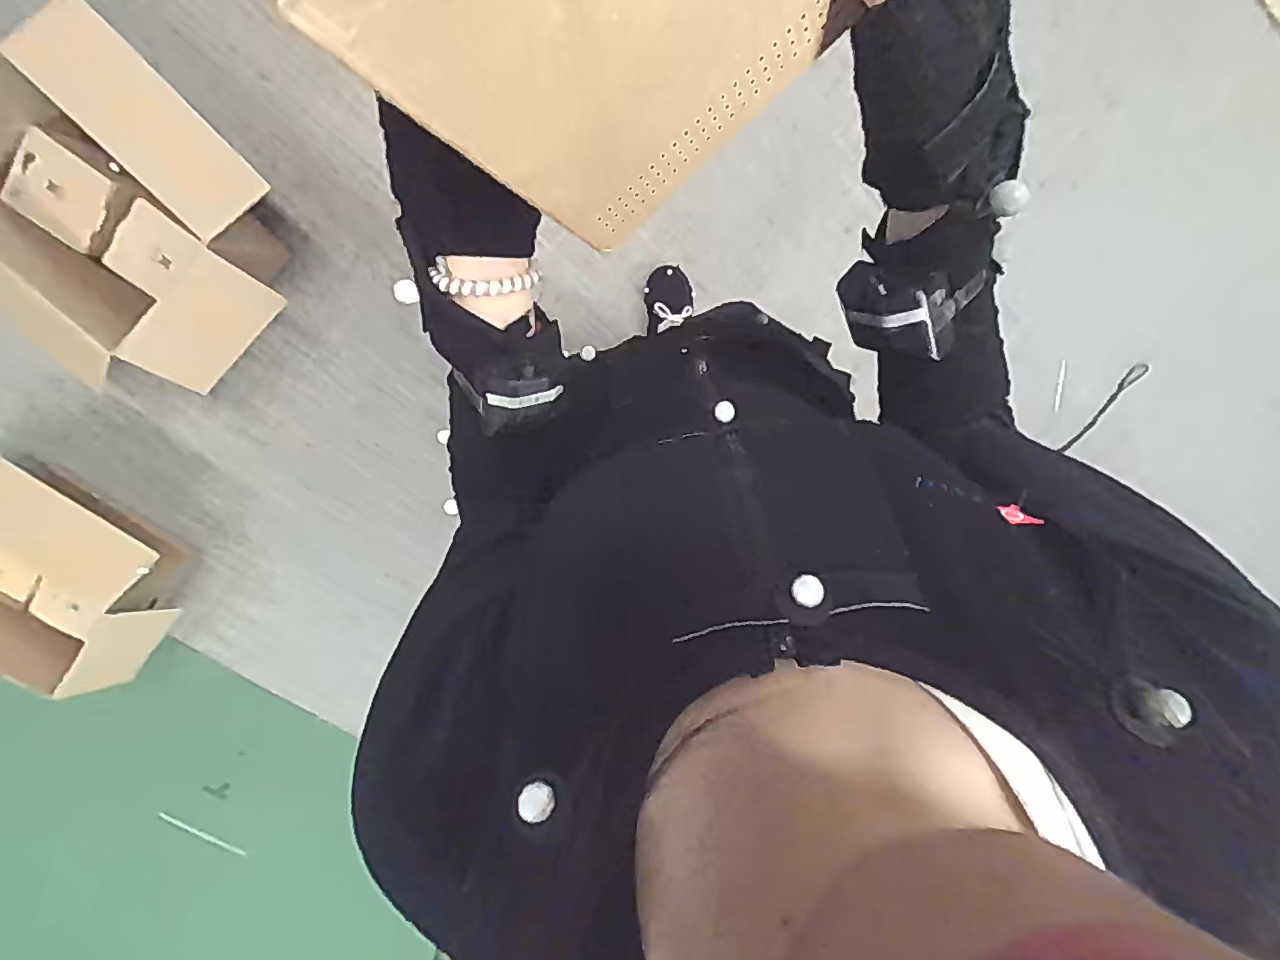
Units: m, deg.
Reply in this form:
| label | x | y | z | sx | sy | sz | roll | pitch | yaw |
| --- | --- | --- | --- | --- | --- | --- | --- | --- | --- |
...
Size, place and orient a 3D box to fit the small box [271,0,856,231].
| label | x | y | z | sx | sy | sz | roll | pitch | yaw |
| --- | --- | --- | --- | --- | --- | --- | --- | --- | --- |
| small box | -0.029 | -0.233 | 0.198 | 0.179 | 0.176 | 0.168 | -36 | 75 | 22 |
